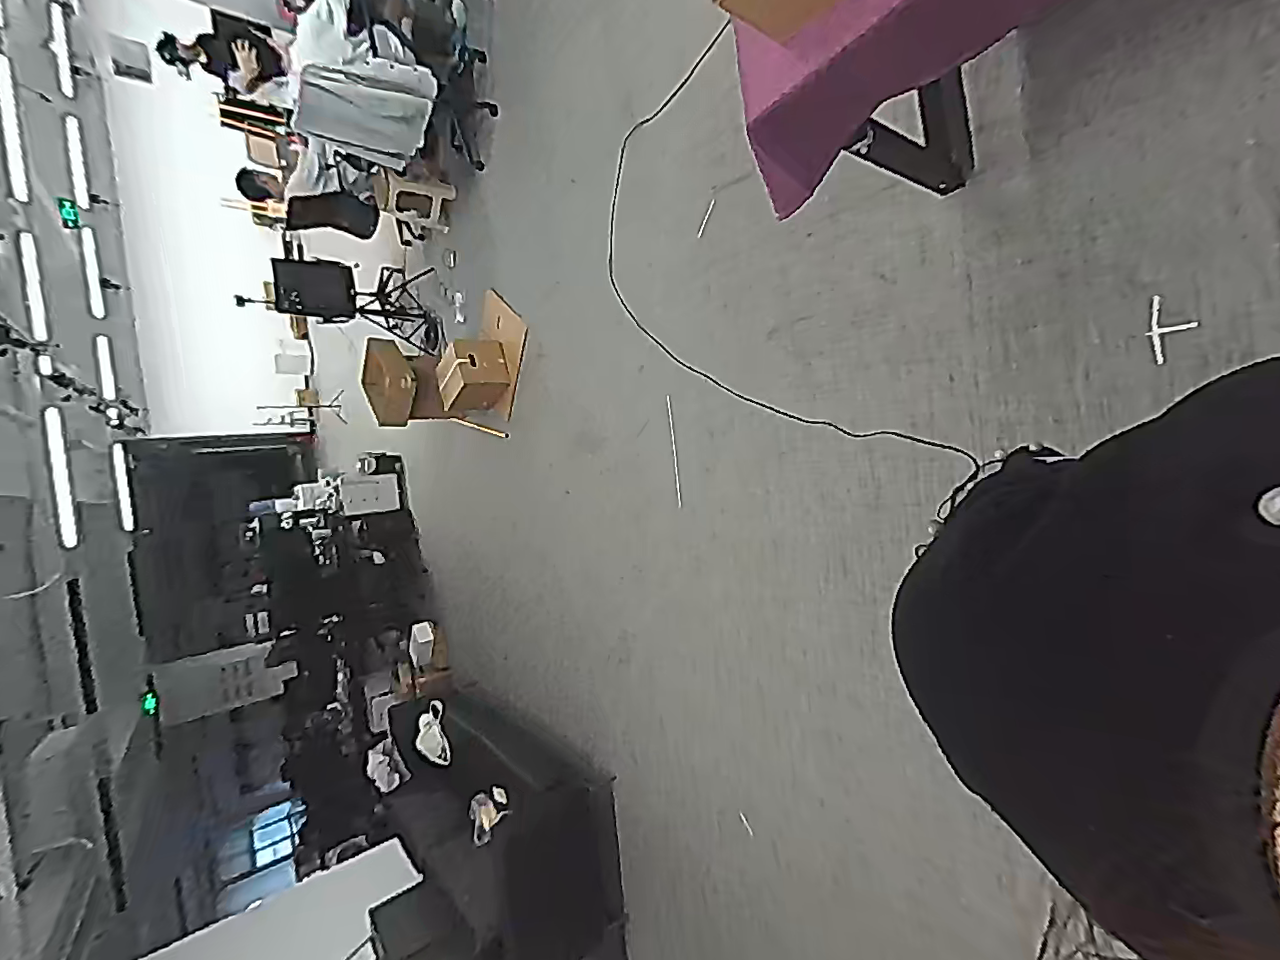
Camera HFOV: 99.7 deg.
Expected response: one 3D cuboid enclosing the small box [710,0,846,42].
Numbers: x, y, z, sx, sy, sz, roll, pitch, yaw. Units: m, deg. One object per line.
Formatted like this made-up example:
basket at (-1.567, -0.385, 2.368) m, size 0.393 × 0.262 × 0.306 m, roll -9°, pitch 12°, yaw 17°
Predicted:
small box at (0.219, -0.792, 0.782) m, size 0.179 × 0.176 × 0.168 m, roll 4°, pitch 100°, yaw 51°
